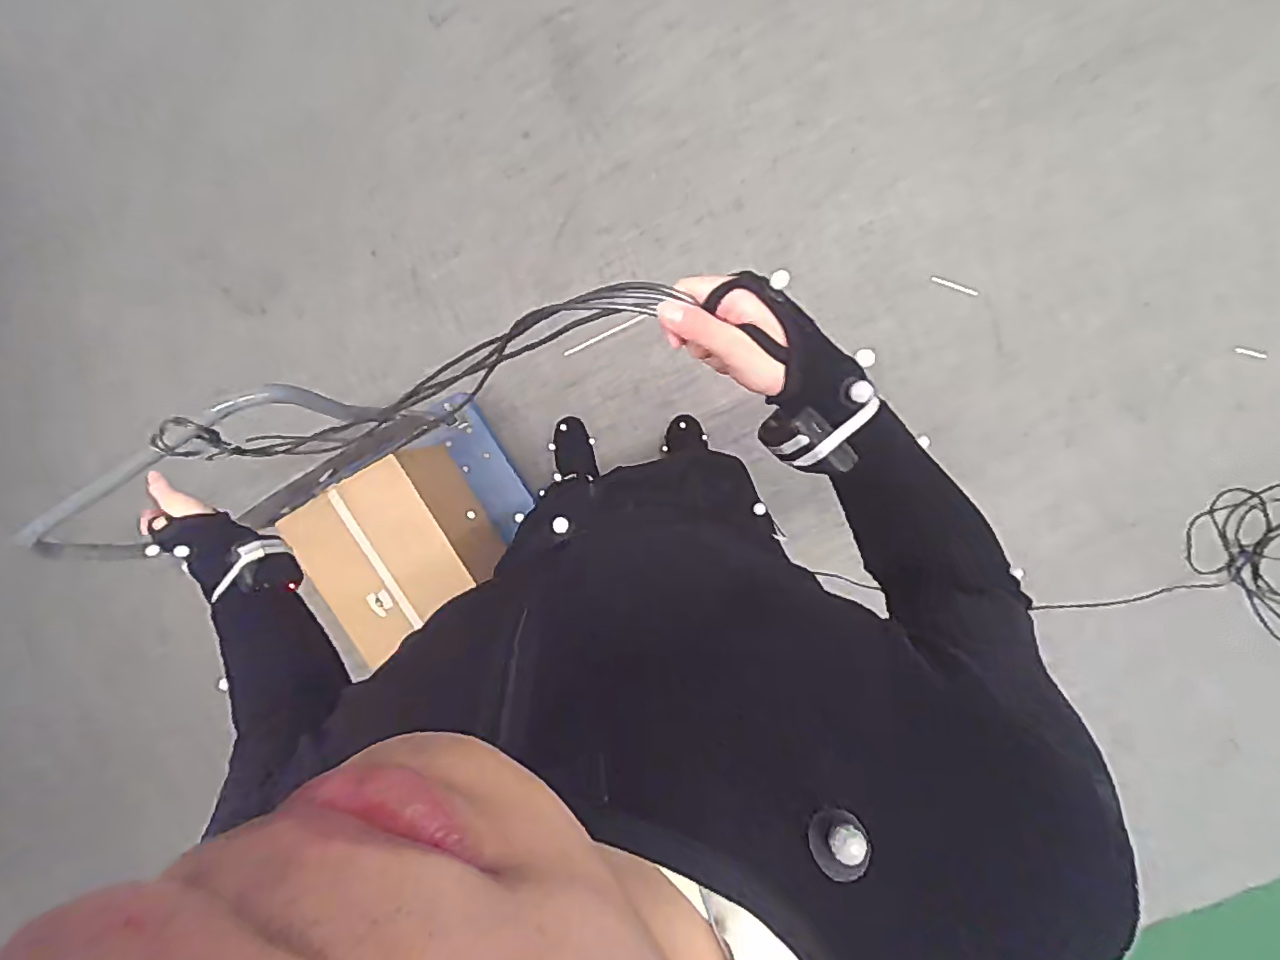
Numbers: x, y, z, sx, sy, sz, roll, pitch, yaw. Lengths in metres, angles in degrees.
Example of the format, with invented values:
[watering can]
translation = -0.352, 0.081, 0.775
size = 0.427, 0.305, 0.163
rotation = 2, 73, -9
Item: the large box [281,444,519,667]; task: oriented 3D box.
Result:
[large box]
translation = -0.557, 0.162, 1.336
size = 0.320, 0.320, 0.408
rotation = -30, 96, 4
